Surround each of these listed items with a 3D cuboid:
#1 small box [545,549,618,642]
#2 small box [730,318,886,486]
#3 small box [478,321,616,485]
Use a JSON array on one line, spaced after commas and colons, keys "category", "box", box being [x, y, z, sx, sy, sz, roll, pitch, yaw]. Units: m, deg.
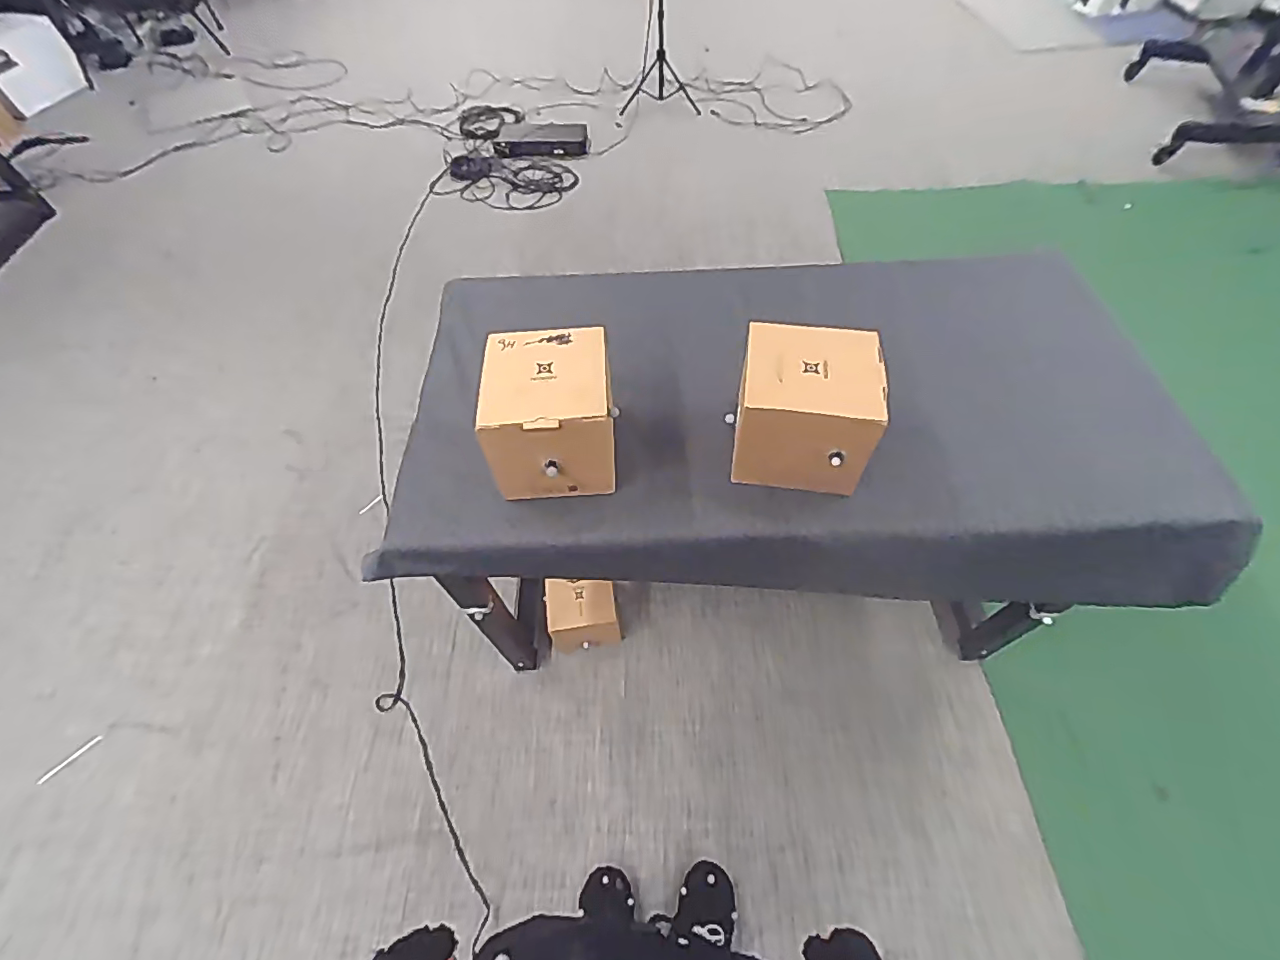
[{"category": "small box", "box": [-0.148, 0.300, 1.392, 0.168, 0.176, 0.179, -8, 58, -3]}, {"category": "small box", "box": [0.230, -0.106, 0.776, 0.179, 0.176, 0.168, 6, 56, 7]}, {"category": "small box", "box": [-0.123, -0.102, 0.781, 0.168, 0.176, 0.179, -3, 56, -1]}]
